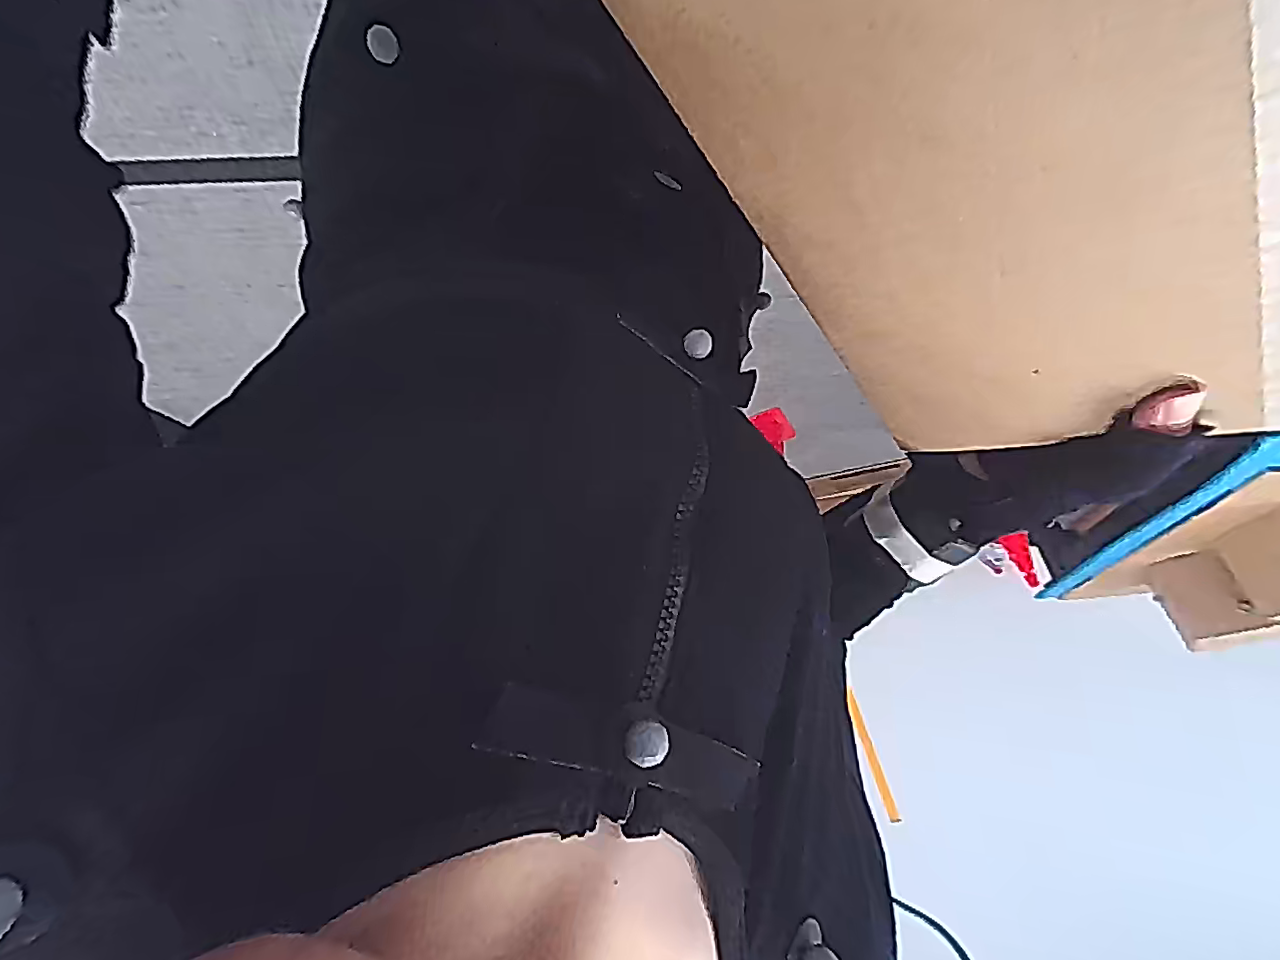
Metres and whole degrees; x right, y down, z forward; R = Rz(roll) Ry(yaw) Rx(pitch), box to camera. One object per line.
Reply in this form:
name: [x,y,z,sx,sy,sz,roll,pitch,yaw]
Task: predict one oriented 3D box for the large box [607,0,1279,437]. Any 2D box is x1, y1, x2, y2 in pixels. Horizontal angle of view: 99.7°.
large box: [0.195,-0.264,0.178,0.320,0.320,0.408,0,147,49]
